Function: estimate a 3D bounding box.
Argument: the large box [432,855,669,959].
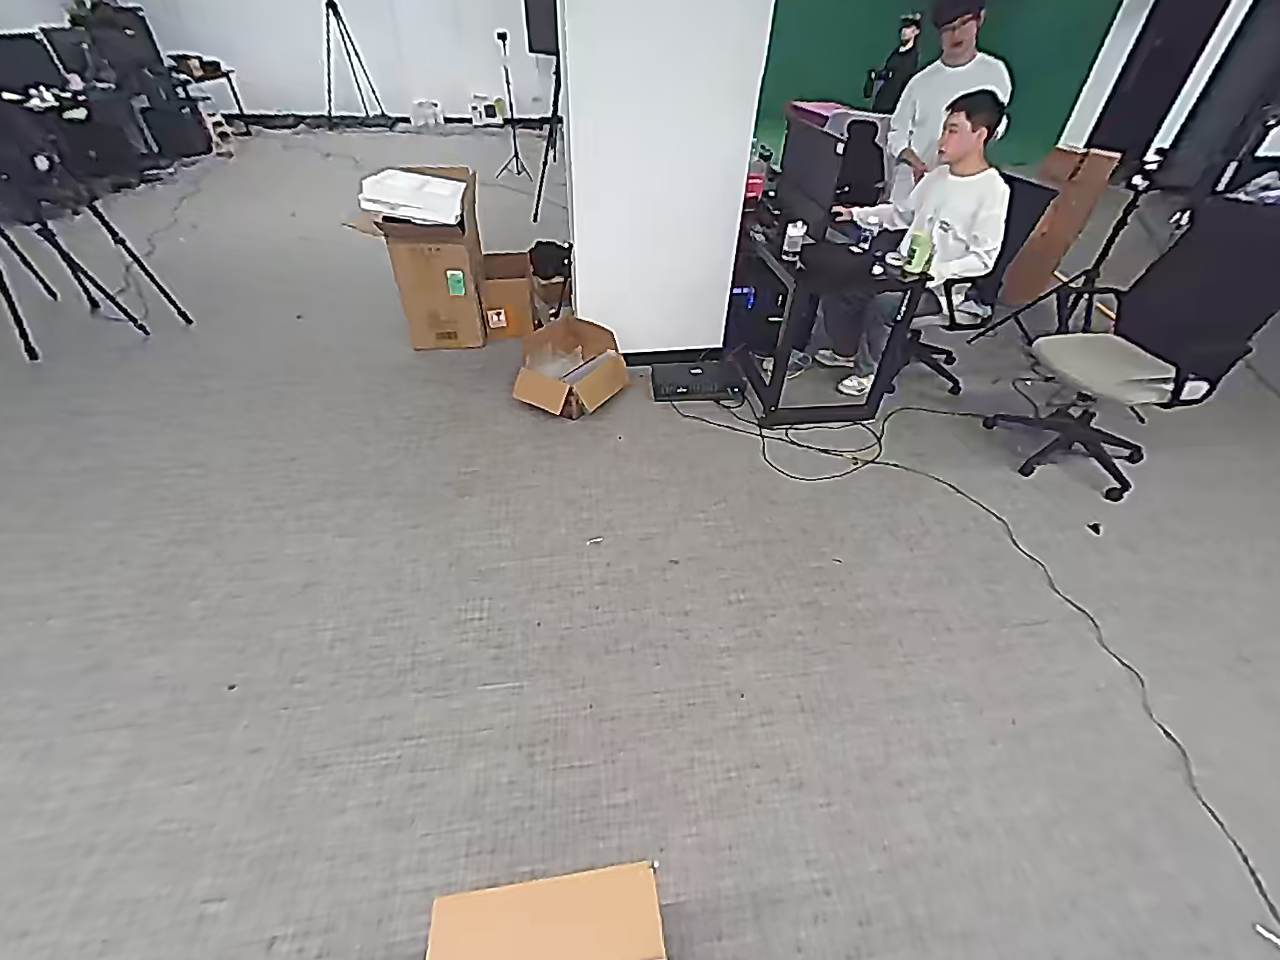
[{"bbox_3d":[-0.154,0.947,0.990,0.408,0.320,0.320,-4,41,-8],"label":"large box"}]
